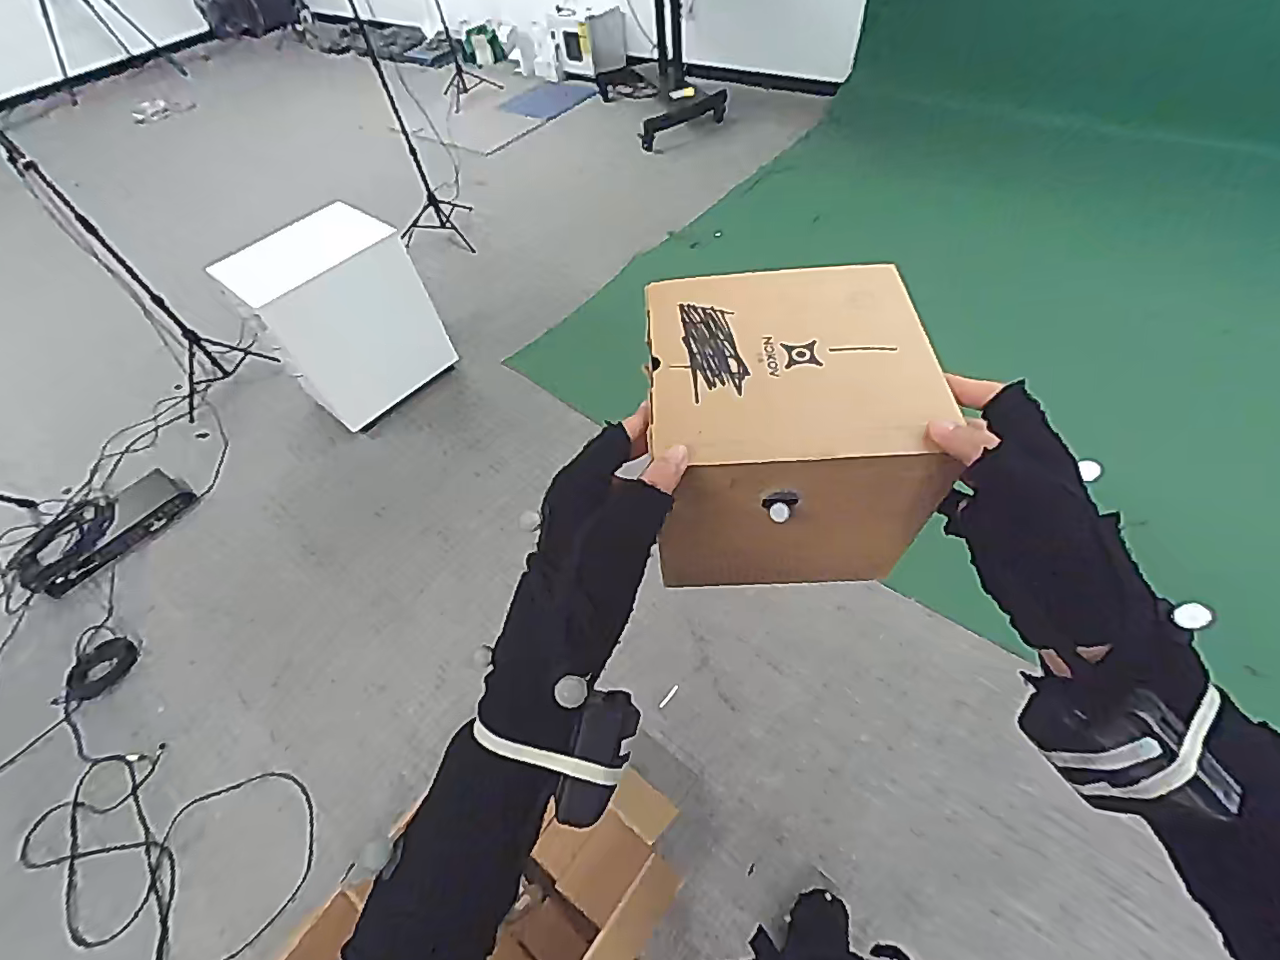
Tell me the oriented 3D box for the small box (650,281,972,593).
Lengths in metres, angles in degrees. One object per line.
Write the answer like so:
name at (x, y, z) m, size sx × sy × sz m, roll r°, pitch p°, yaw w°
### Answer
small box at (0.101, -0.023, 0.406) m, size 0.179 × 0.176 × 0.168 m, roll -3°, pitch 55°, yaw 4°
